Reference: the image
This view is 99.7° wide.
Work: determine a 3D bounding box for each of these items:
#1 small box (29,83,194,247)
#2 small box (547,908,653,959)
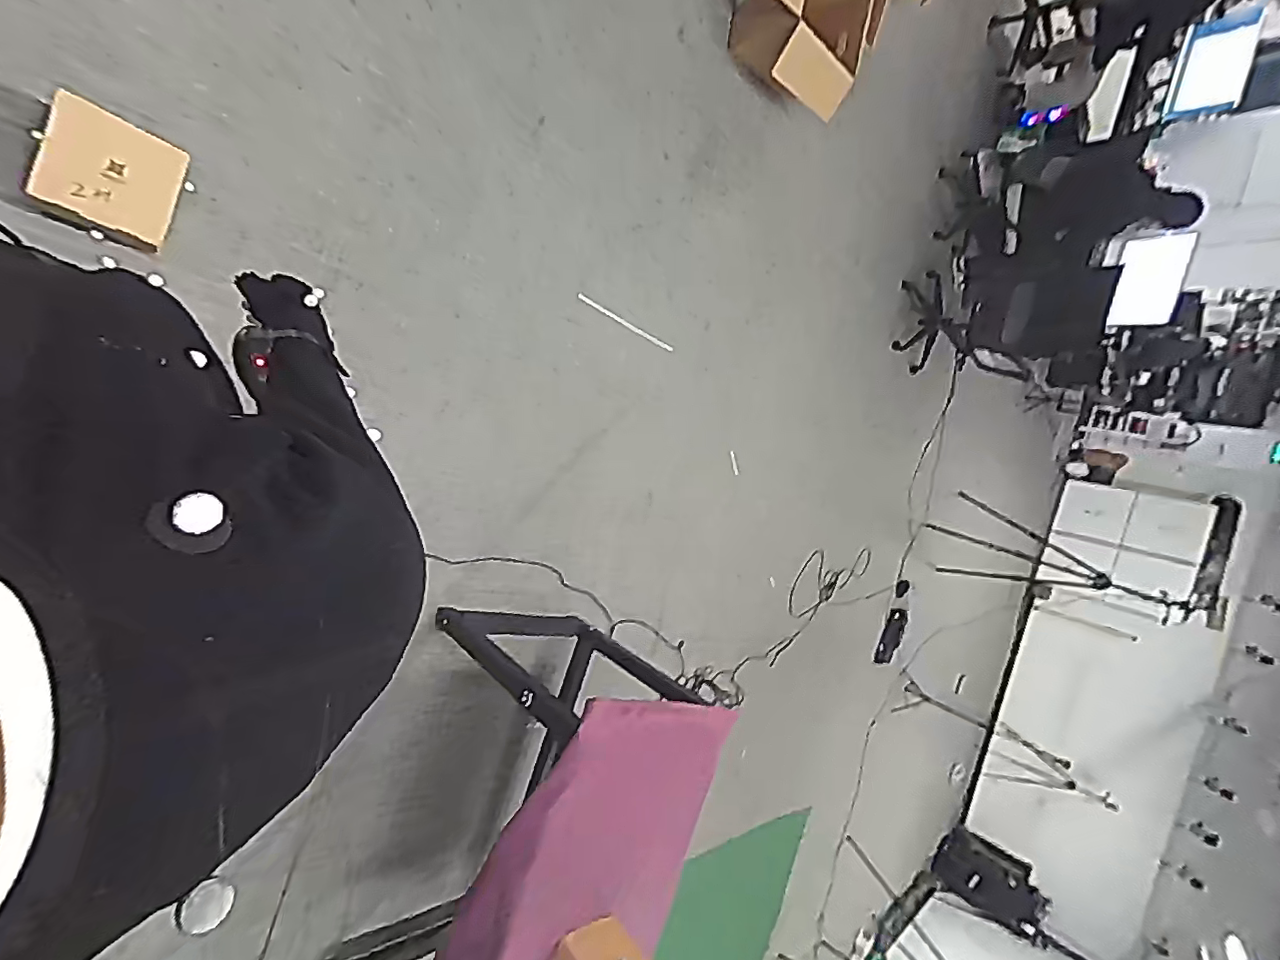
[{"bbox_3d":[-0.923,-0.536,0.950,0.168,0.176,0.179,18,90,-46],"label":"small box"},{"bbox_3d":[-0.106,1.153,1.261,0.179,0.176,0.168,26,84,-45],"label":"small box"}]
